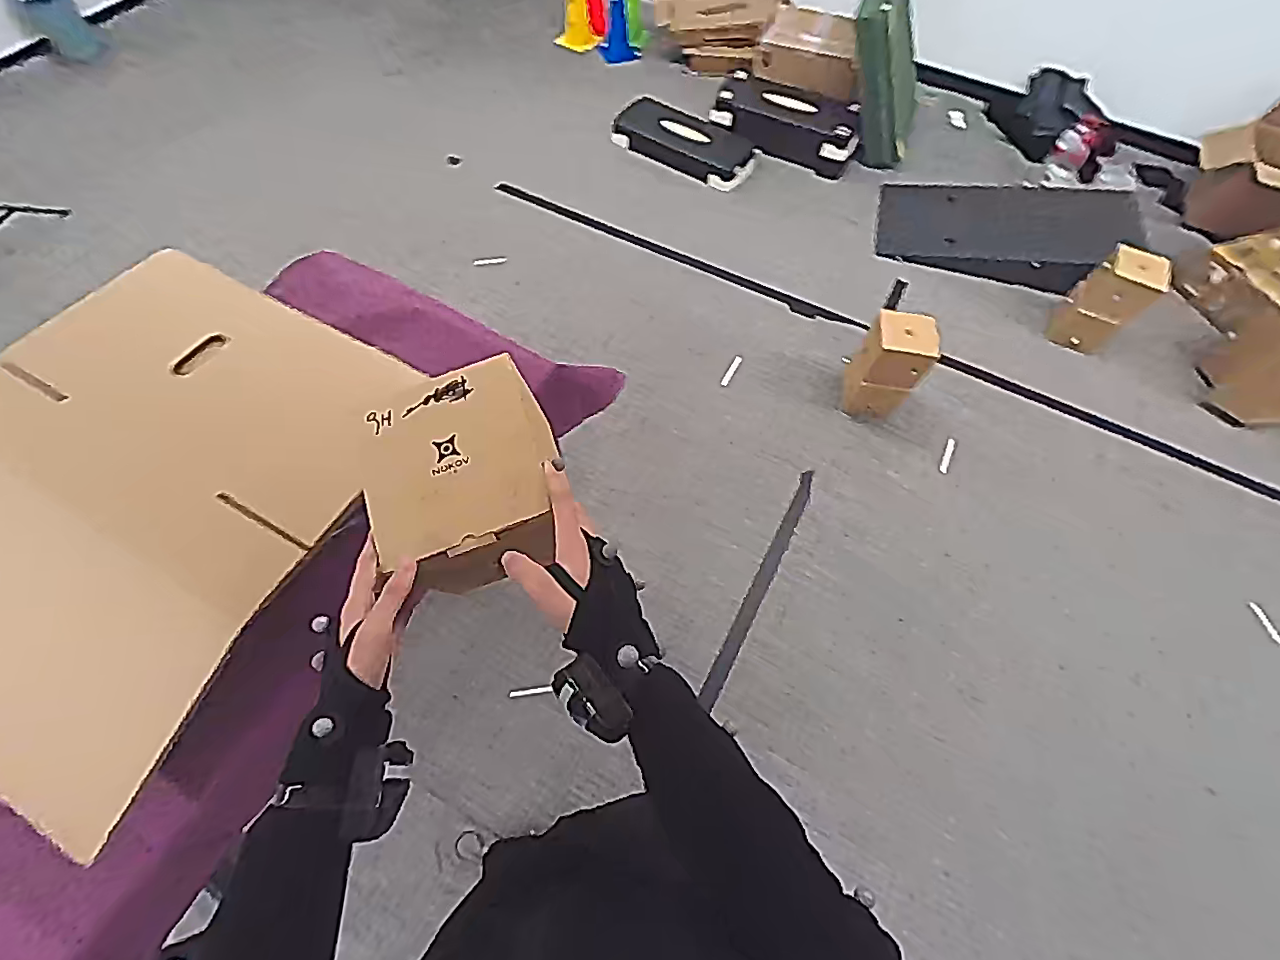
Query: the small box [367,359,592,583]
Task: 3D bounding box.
[{"bbox_3d":[-0.160,0.004,0.586,0.168,0.176,0.179,-19,73,-2],"label":"small box"}]
